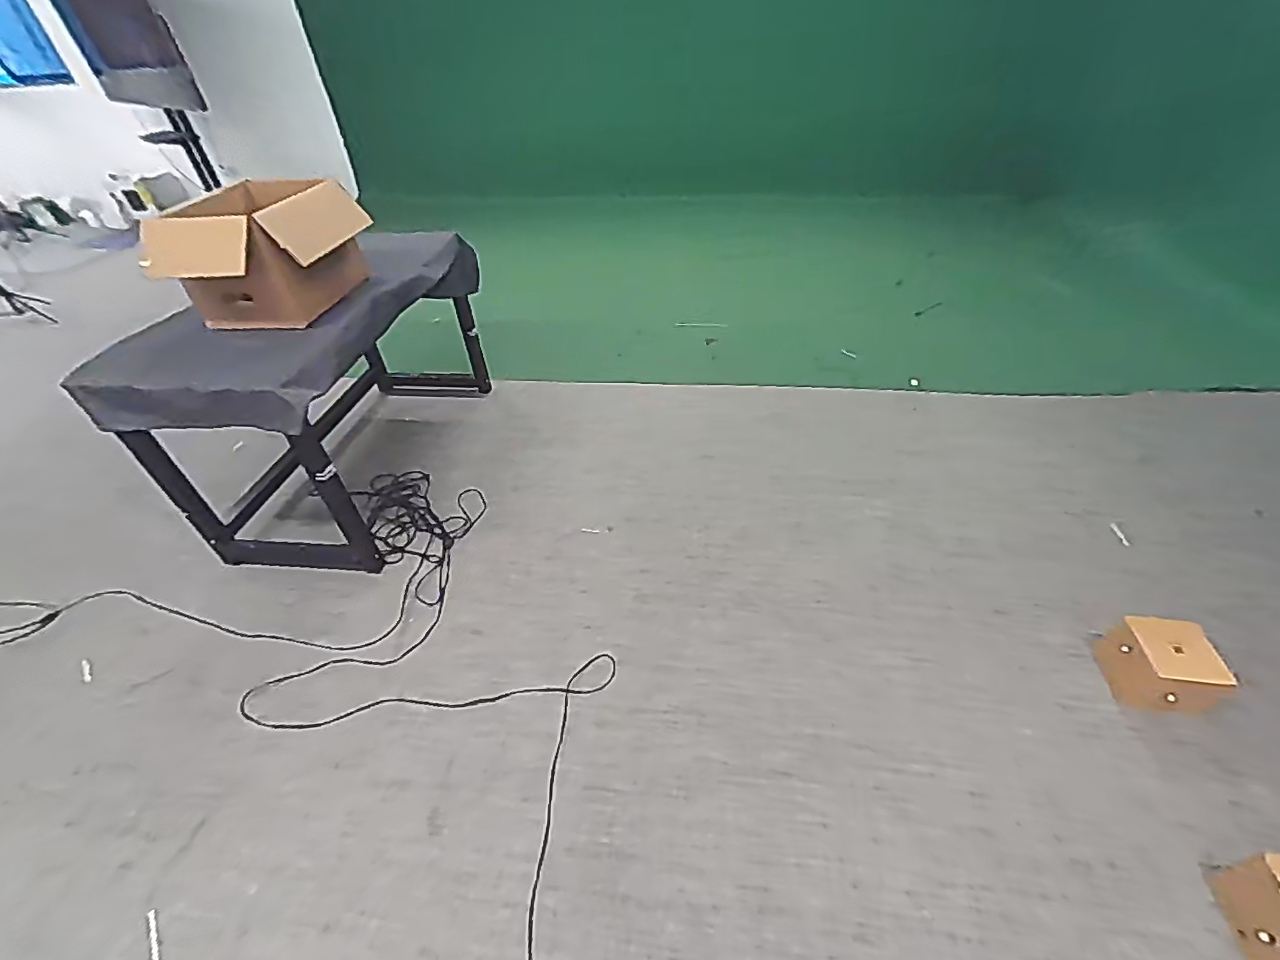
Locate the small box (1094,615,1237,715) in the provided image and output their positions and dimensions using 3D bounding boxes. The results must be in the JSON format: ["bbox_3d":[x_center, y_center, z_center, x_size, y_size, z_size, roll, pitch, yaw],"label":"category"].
[{"bbox_3d":[1.310,0.468,1.364,0.168,0.176,0.179,4,41,9],"label":"small box"}]

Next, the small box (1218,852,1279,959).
[{"bbox_3d":[1.223,0.811,0.979,0.179,0.176,0.168,7,44,11],"label":"small box"}]
